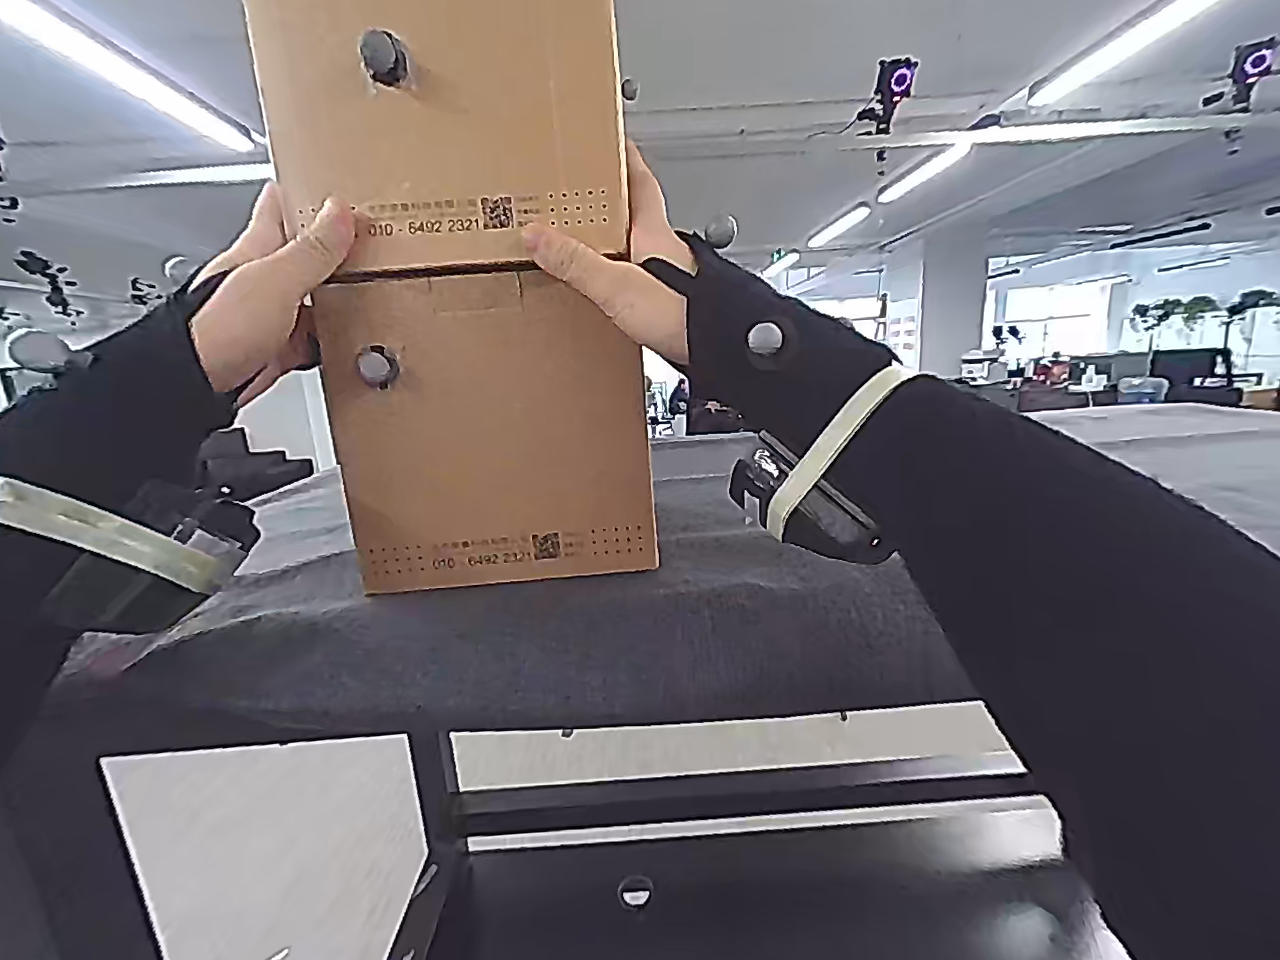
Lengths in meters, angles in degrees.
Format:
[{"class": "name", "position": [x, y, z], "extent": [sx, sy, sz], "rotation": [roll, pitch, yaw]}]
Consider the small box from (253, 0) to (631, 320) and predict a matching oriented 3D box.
[{"class": "small box", "position": [-0.093, -0.200, 0.333], "extent": [0.168, 0.176, 0.179], "rotation": [-4, 10, 0]}]
